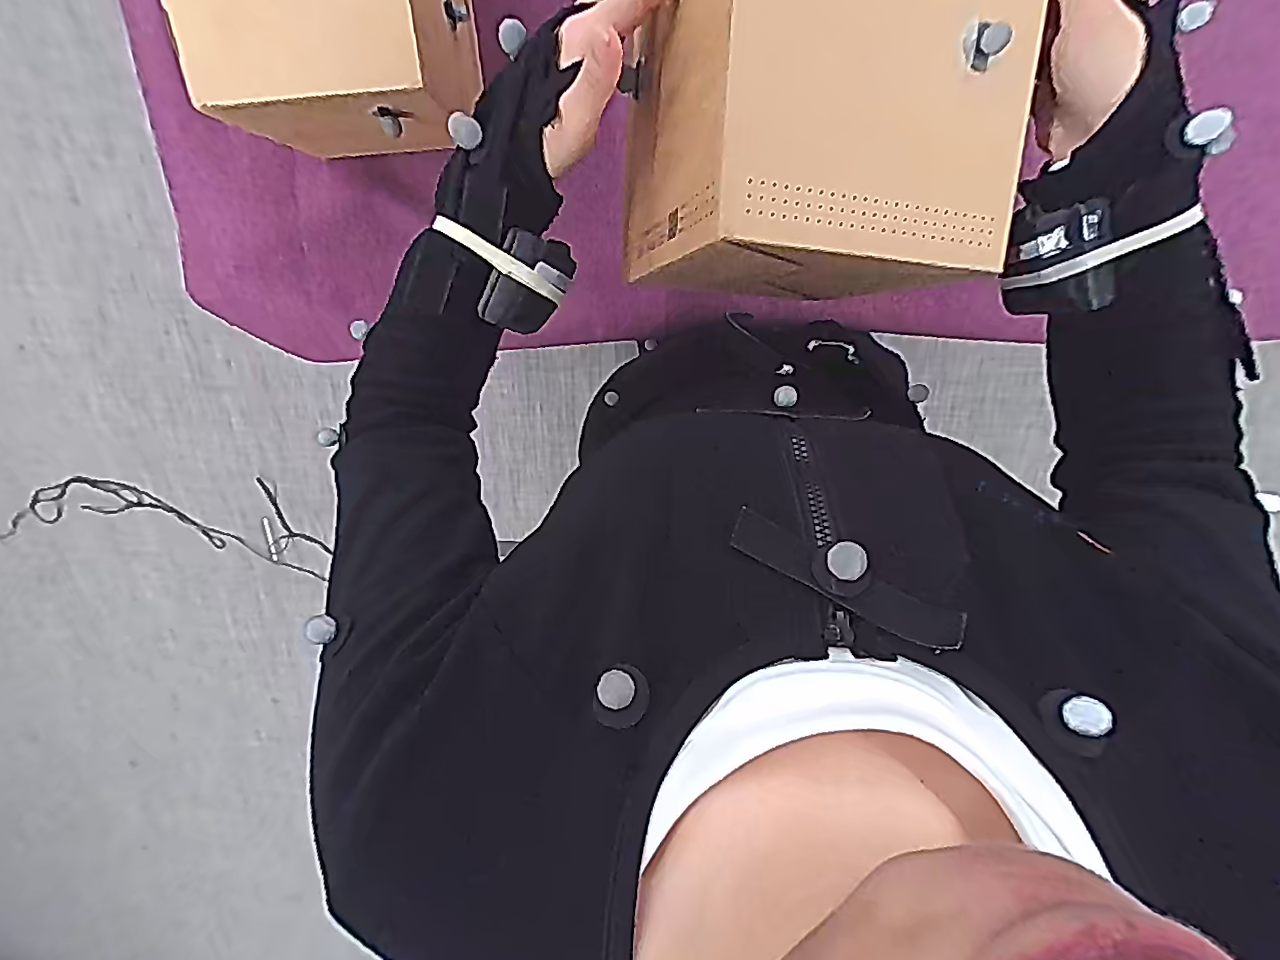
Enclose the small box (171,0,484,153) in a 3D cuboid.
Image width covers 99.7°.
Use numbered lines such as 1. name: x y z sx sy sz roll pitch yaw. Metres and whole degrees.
1. small box: -0.237 -0.381 0.439 0.179 0.176 0.168 -2 109 3
